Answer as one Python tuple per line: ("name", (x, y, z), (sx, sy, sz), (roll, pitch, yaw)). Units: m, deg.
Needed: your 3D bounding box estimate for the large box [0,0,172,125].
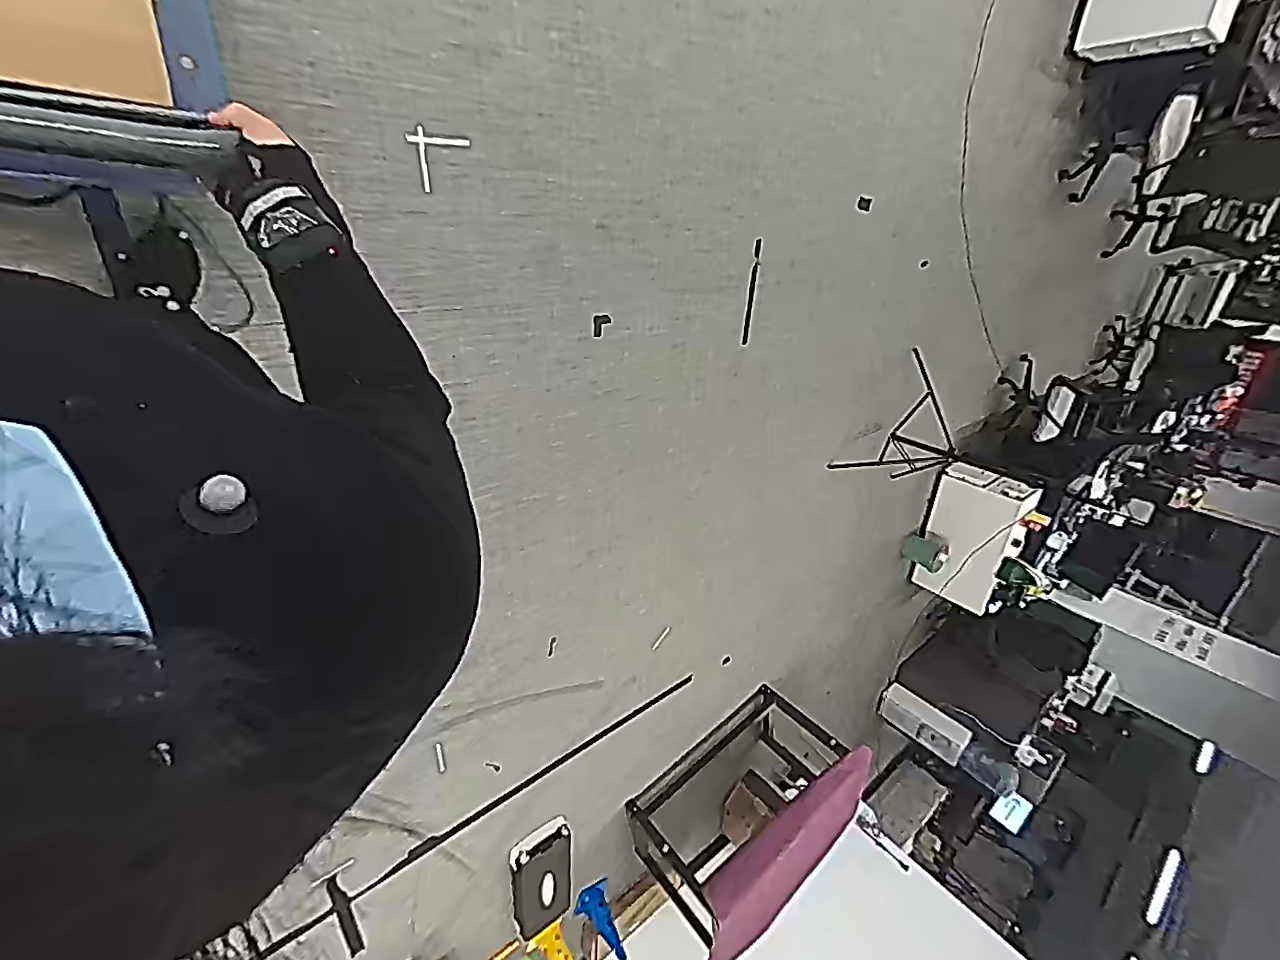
("large box", (-0.831, -0.625, 0.606), (0.408, 0.320, 0.320), (-15, 122, -38))
